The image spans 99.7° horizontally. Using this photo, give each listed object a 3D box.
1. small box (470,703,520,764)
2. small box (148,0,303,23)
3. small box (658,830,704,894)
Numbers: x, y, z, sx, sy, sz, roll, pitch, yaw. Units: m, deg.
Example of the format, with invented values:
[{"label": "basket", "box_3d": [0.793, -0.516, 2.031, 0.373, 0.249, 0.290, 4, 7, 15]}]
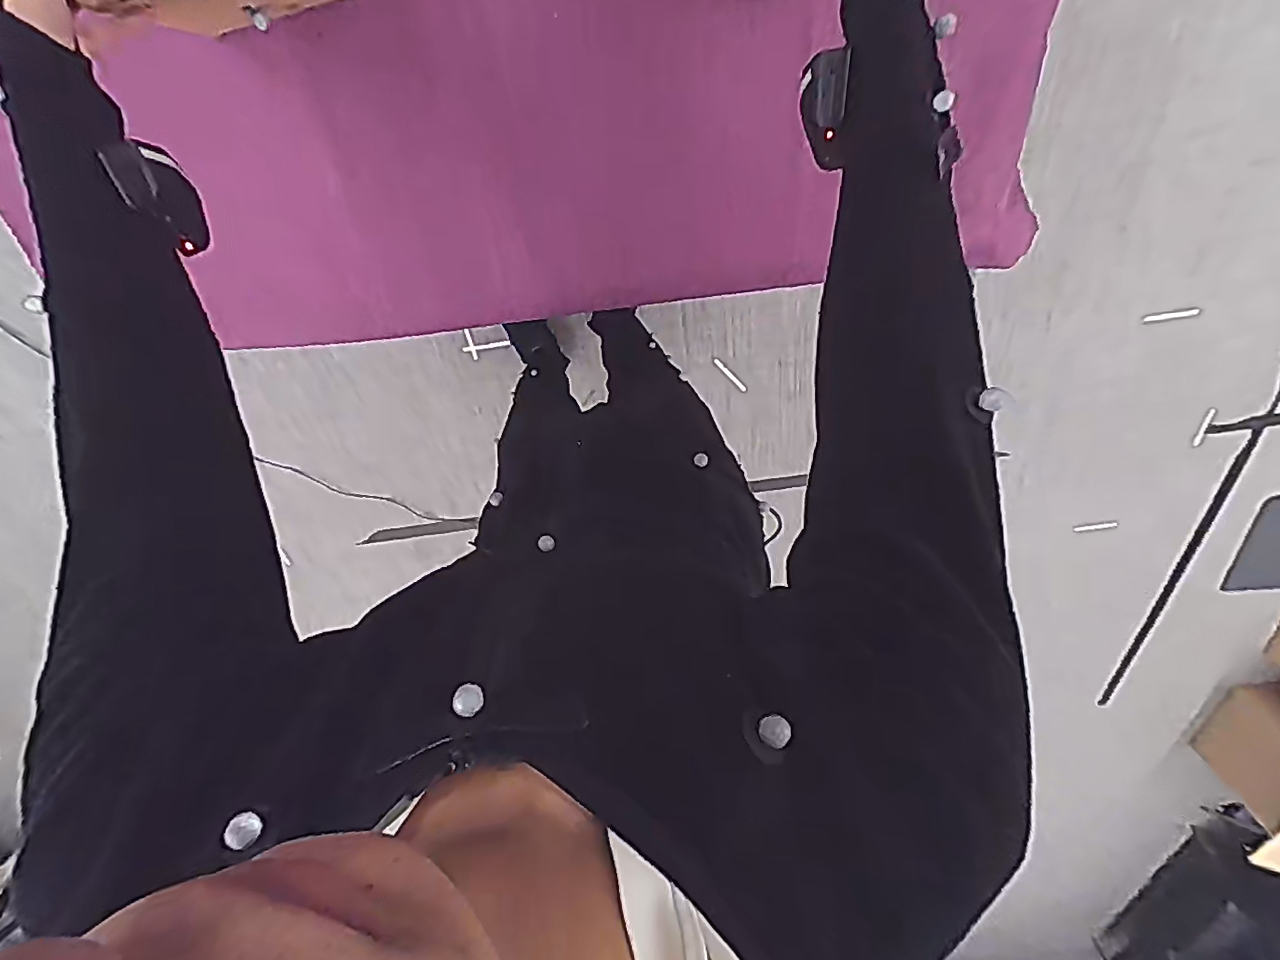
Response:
[{"label": "small box", "box_3d": [-0.634, 1.113, 2.376, 0.168, 0.176, 0.179, 19, 121, -15]}, {"label": "small box", "box_3d": [-0.380, -0.509, 0.437, 0.168, 0.176, 0.179, -11, 124, 5]}, {"label": "small box", "box_3d": [0.163, 1.569, 2.221, 0.168, 0.176, 0.179, -1, 125, -4]}]
